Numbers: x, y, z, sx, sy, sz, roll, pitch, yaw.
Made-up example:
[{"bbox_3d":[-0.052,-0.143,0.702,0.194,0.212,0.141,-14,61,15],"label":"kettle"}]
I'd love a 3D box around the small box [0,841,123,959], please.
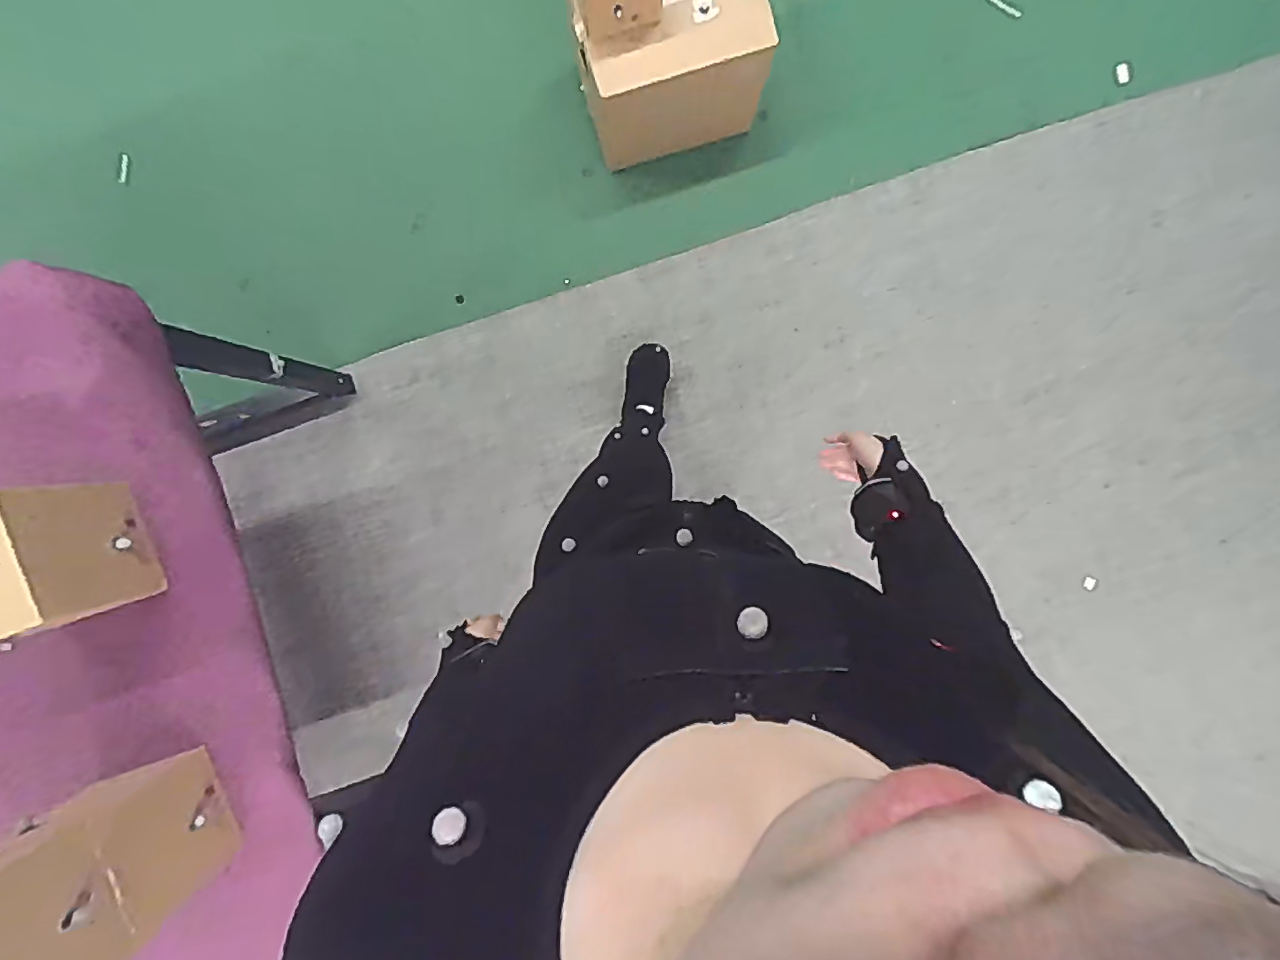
[{"bbox_3d":[-0.685,0.499,0.532,0.168,0.176,0.179,-20,91,3],"label":"small box"}]

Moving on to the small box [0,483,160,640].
[{"bbox_3d":[-0.779,0.107,0.683,0.179,0.176,0.168,-18,92,1],"label":"small box"}]

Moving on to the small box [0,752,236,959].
[{"bbox_3d":[-0.683,0.490,0.696,0.179,0.176,0.168,-19,93,3],"label":"small box"}]

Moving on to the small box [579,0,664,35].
[{"bbox_3d":[-0.052,-1.032,1.050,0.168,0.176,0.179,-17,92,0],"label":"small box"}]

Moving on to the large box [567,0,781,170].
[{"bbox_3d":[0.066,-1.023,1.293,0.408,0.320,0.320,-17,93,0],"label":"large box"}]
